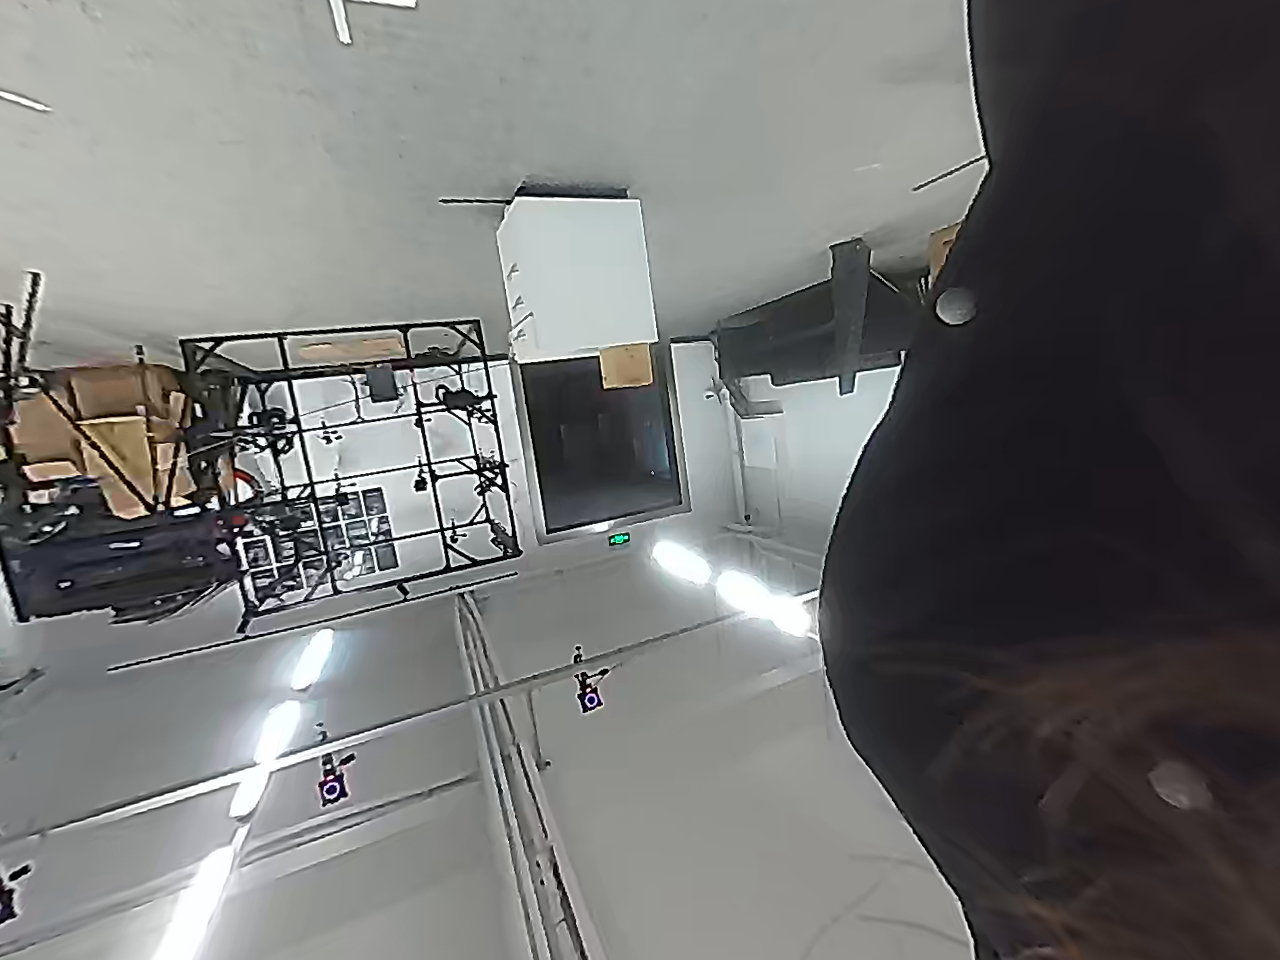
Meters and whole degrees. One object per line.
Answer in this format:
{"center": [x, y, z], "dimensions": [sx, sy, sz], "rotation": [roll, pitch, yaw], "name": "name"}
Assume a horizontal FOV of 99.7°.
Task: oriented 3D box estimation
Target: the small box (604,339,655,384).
{"center": [-0.051, -0.511, 2.331], "dimensions": [0.168, 0.176, 0.179], "rotation": [-12, -170, -22], "name": "small box"}
